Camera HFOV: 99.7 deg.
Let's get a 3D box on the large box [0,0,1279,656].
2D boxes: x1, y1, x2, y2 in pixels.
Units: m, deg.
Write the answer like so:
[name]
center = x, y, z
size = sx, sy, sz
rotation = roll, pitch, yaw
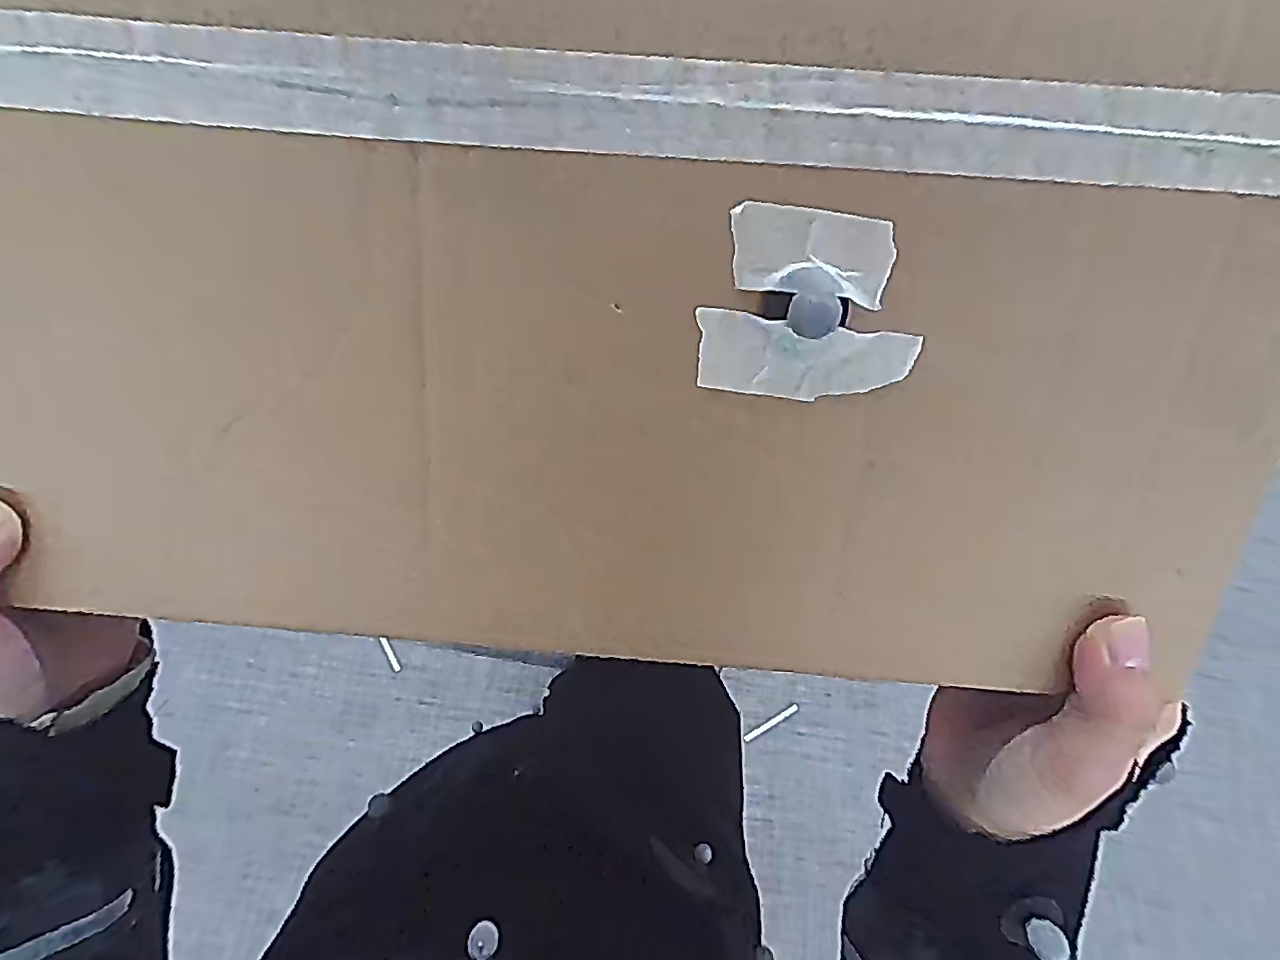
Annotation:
[large box]
center = -0.014, -0.132, 0.296
size = 0.408, 0.320, 0.320
rotation = 4, 105, 0
